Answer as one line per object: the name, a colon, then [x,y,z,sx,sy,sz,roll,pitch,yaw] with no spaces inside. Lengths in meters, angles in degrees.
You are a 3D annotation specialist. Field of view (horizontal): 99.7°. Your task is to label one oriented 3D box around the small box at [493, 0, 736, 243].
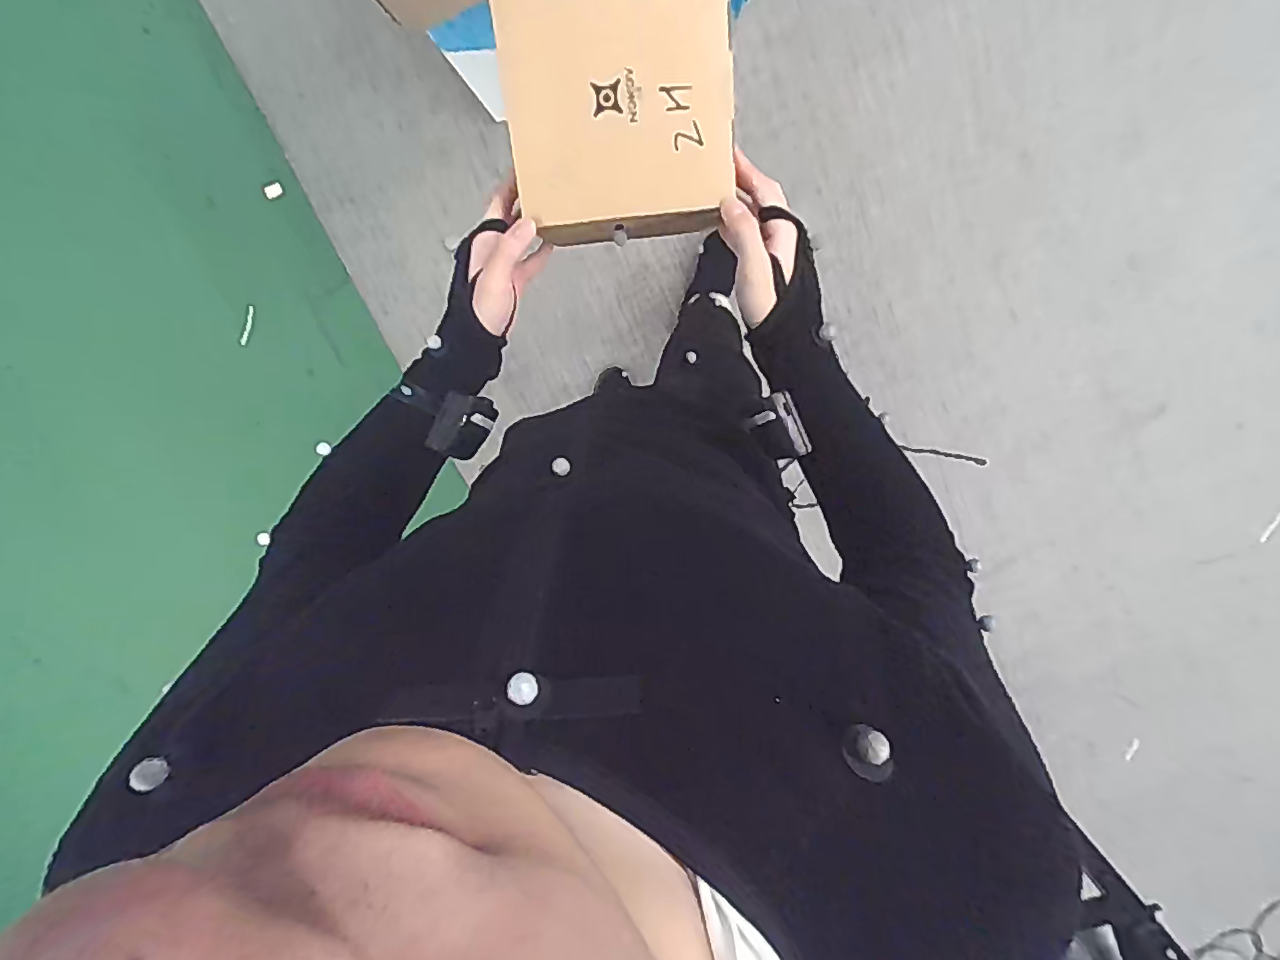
small box: [-0.013,-0.315,0.485,0.179,0.176,0.168,-4,108,2]
